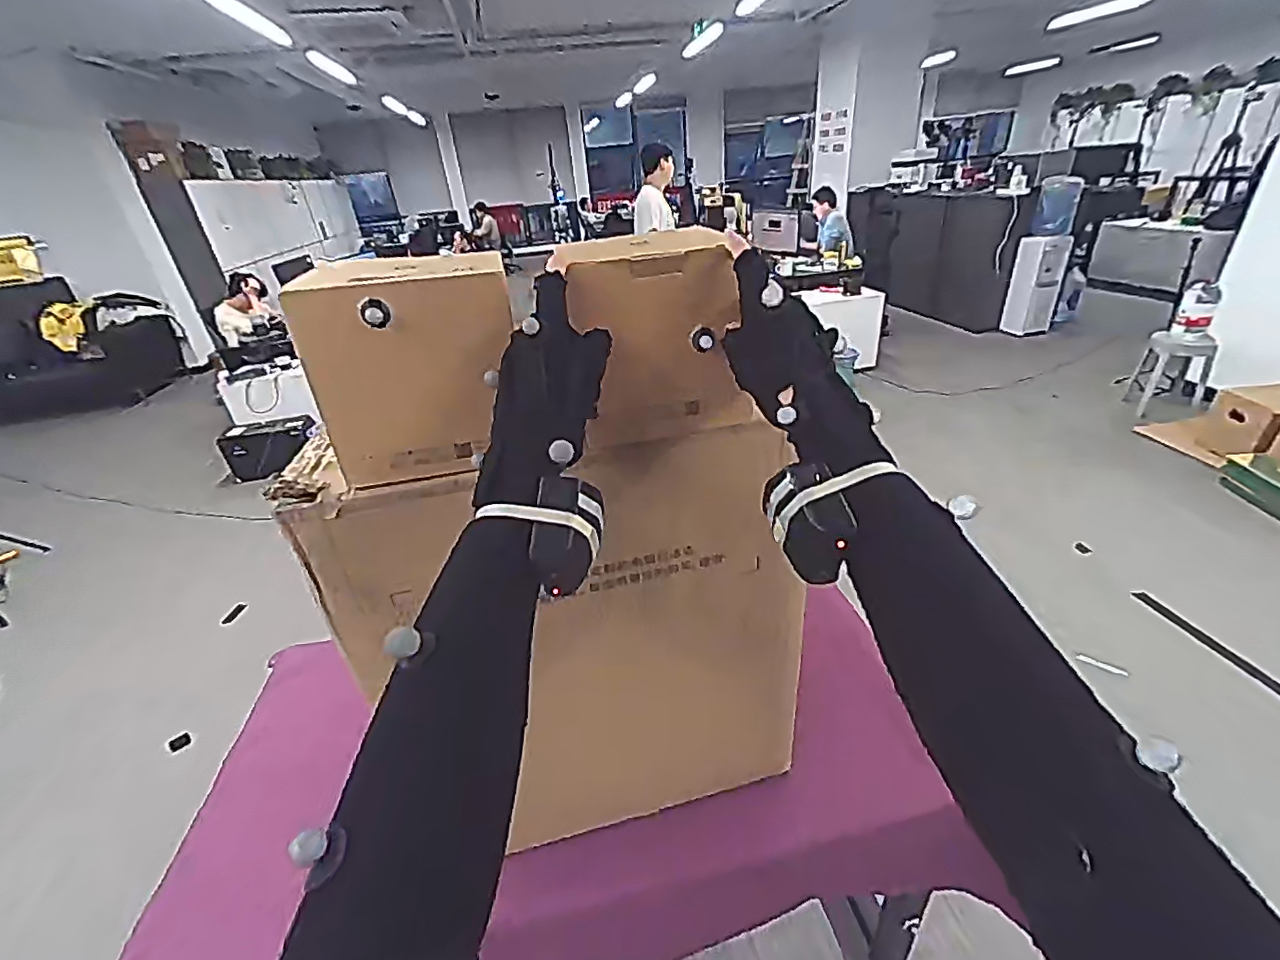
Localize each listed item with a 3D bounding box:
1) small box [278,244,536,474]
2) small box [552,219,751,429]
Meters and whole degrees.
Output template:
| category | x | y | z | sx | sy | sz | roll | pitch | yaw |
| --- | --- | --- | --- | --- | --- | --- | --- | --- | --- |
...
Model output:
| category | x | y | z | sx | sy | sz | roll | pitch | yaw |
| --- | --- | --- | --- | --- | --- | --- | --- | --- | --- |
| small box | -0.197 | -0.122 | 0.512 | 0.168 | 0.176 | 0.179 | -10 | 28 | -10 |
| small box | 0.008 | -0.158 | 0.546 | 0.168 | 0.176 | 0.179 | -9 | 28 | -6 |
